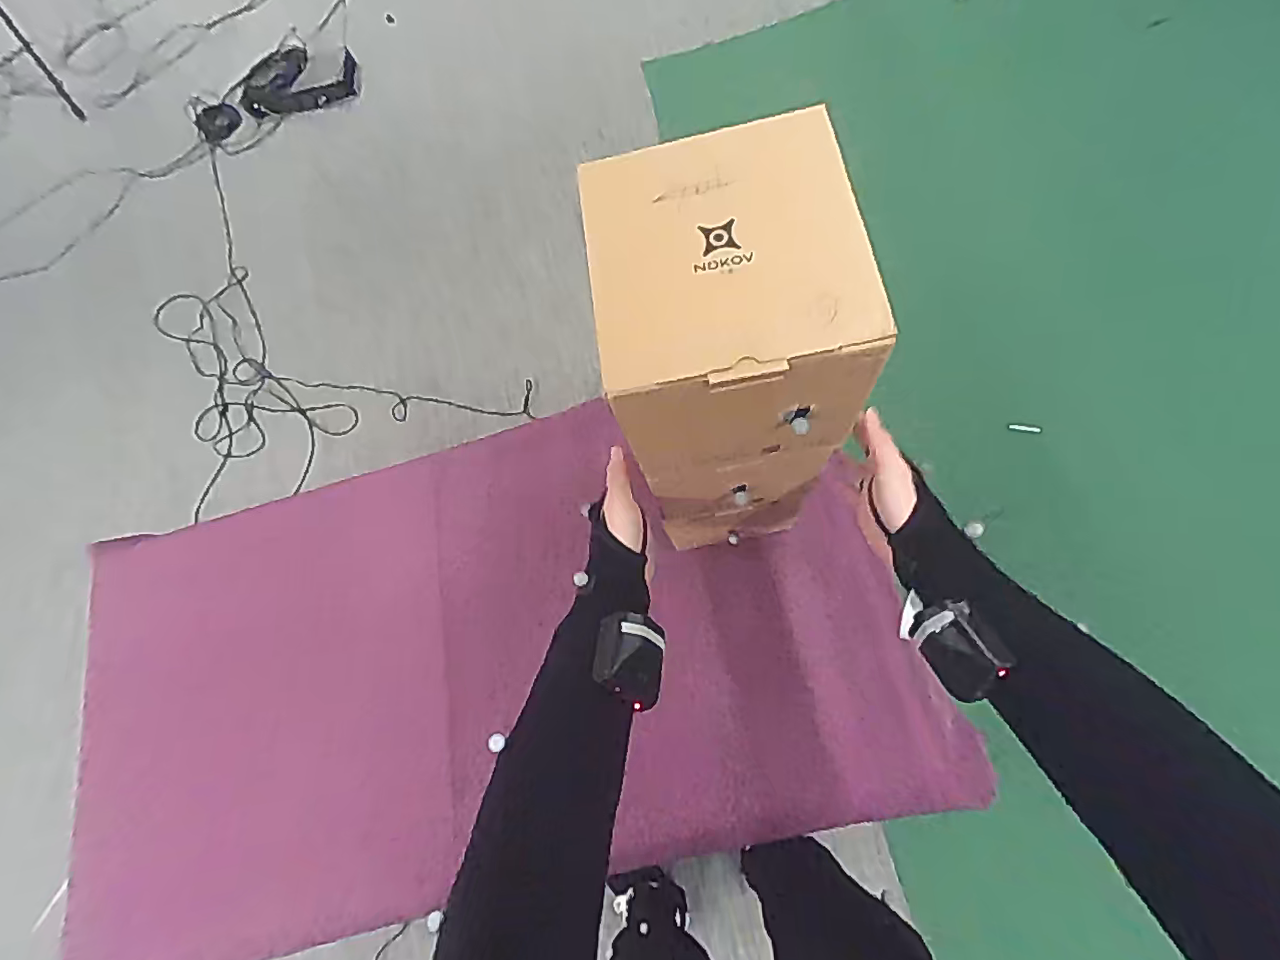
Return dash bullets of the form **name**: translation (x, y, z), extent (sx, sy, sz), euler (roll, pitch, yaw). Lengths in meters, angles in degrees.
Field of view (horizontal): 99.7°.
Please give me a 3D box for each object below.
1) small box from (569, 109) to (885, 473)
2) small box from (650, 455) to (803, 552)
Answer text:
- **small box**: translation (0.056, -0.112, 0.395), extent (0.168, 0.176, 0.179), euler (-10, 71, 7)
- **small box**: translation (0.101, -0.017, 0.705), extent (0.168, 0.176, 0.179), euler (-13, 72, 7)
